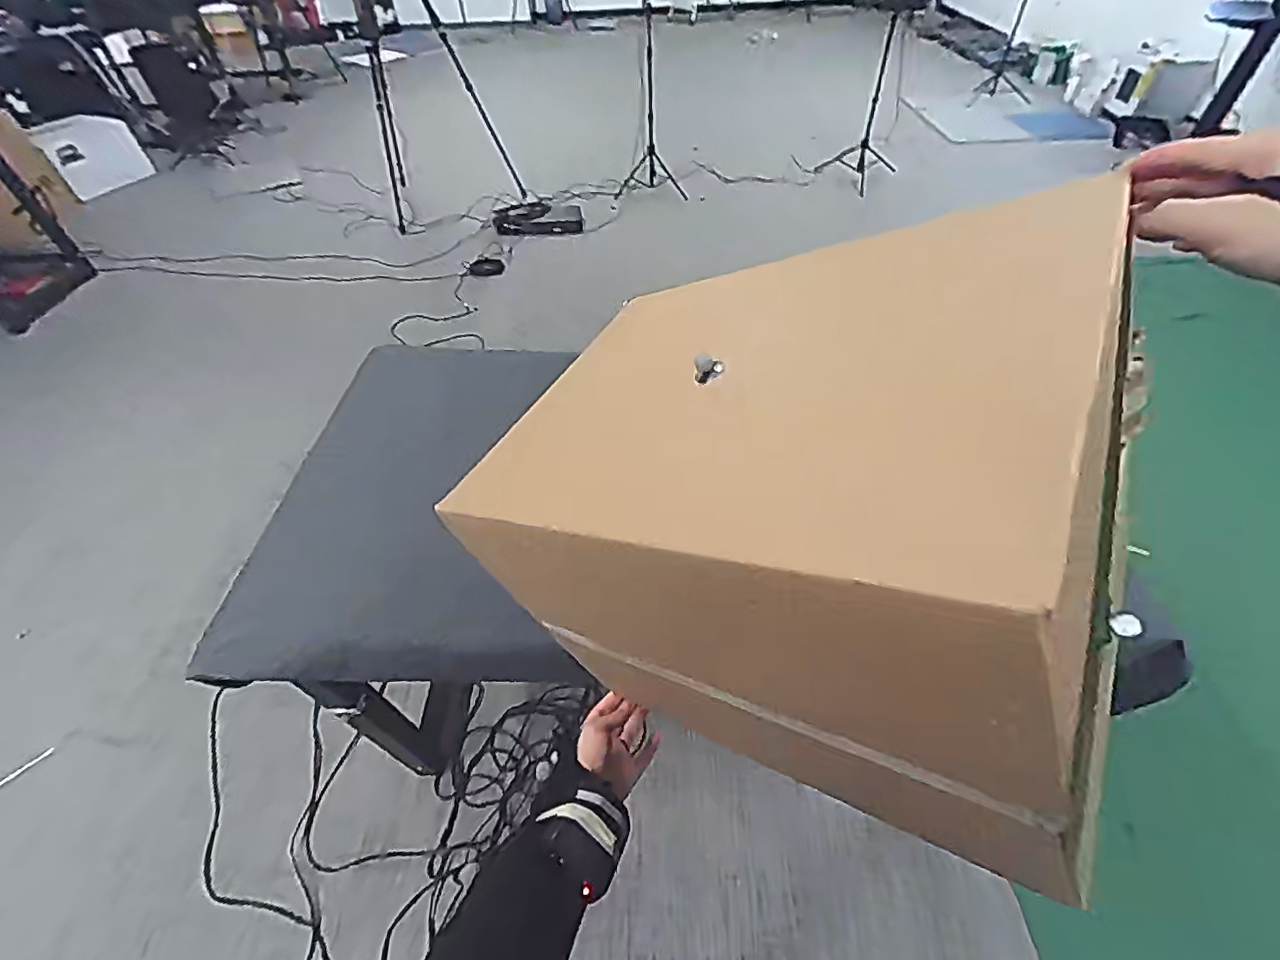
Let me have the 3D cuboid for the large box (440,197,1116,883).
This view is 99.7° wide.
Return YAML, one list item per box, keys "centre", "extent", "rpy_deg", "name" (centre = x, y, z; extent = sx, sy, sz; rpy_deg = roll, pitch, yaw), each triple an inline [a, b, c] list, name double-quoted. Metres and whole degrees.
- centre: [0.122, 0.037, 0.453]
  extent: [0.408, 0.320, 0.320]
  rpy_deg: [3, 47, 42]
  name: "large box"
